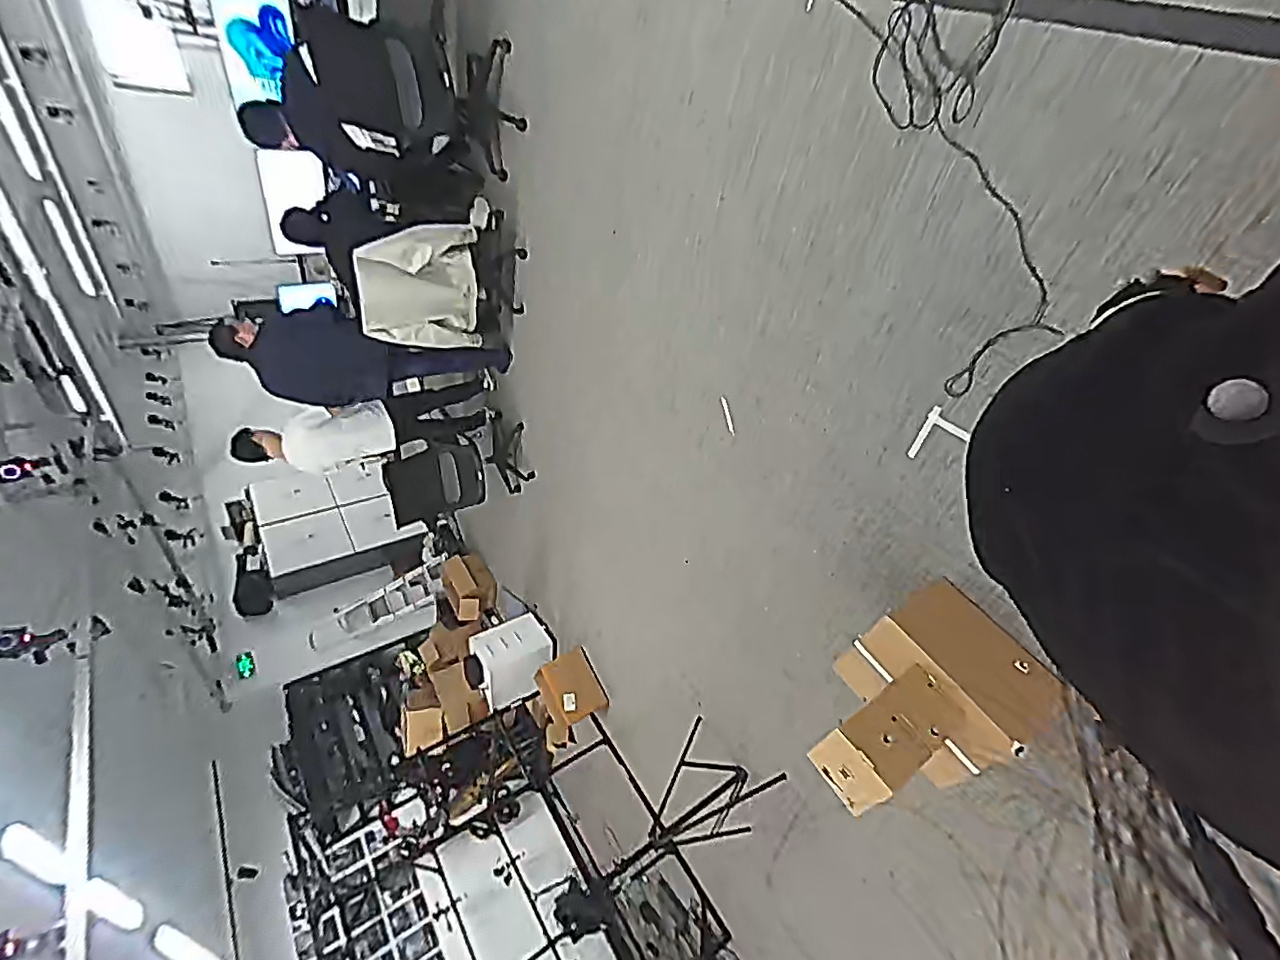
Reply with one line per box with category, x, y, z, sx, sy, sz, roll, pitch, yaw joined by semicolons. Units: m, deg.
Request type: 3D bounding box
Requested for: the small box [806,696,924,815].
small box;0.543;0.654;1.298;0.168;0.176;0.179;51;141;30
